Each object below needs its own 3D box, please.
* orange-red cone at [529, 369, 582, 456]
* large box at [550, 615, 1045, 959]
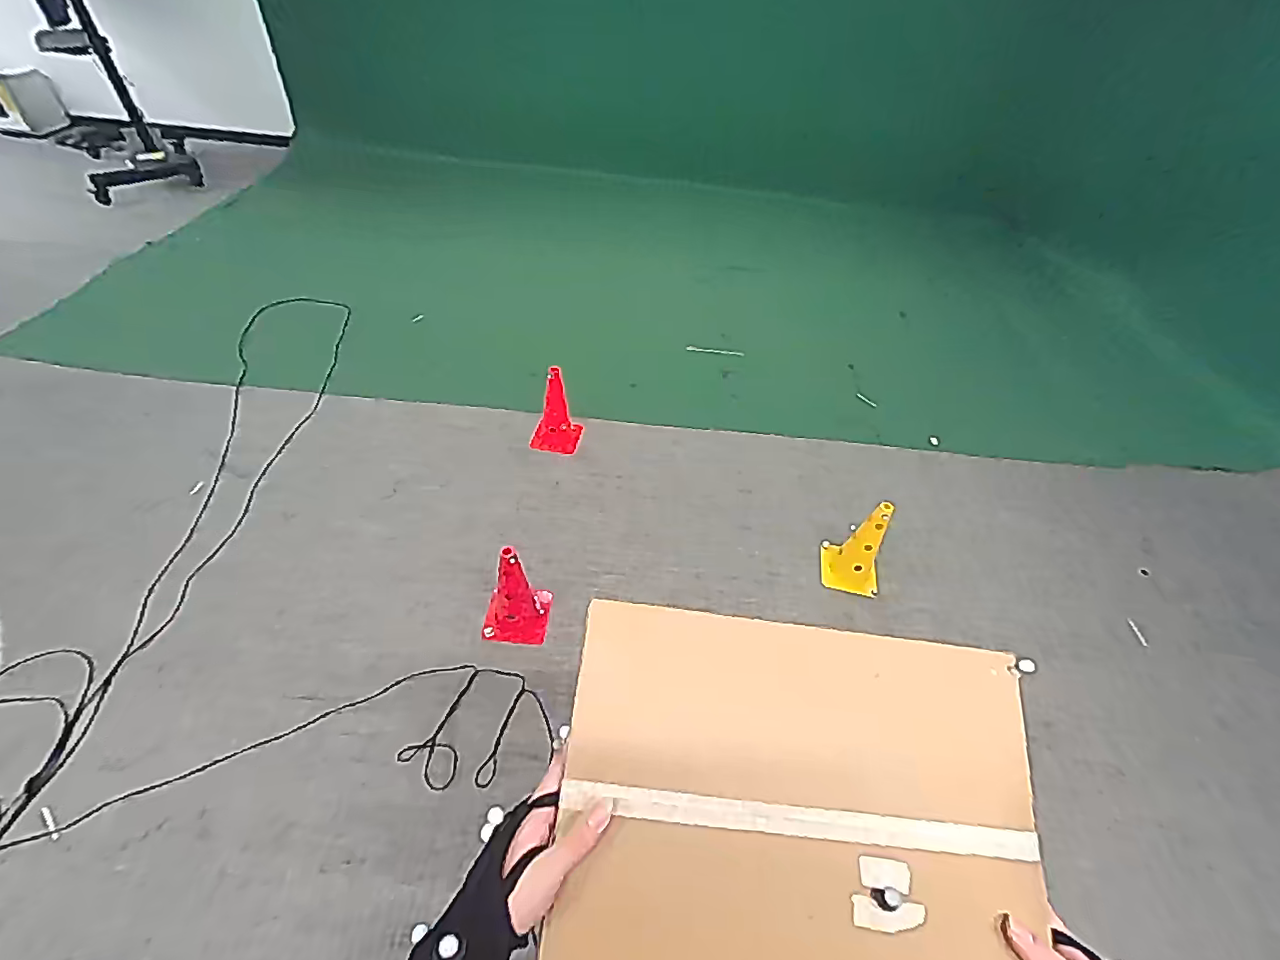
[{"bbox_3d":[-0.356,-0.299,2.235,0.199,0.360,0.198,9,45,5],"label":"orange-red cone"},{"bbox_3d":[0.124,0.340,0.596,0.408,0.320,0.320,7,70,-3],"label":"large box"}]
